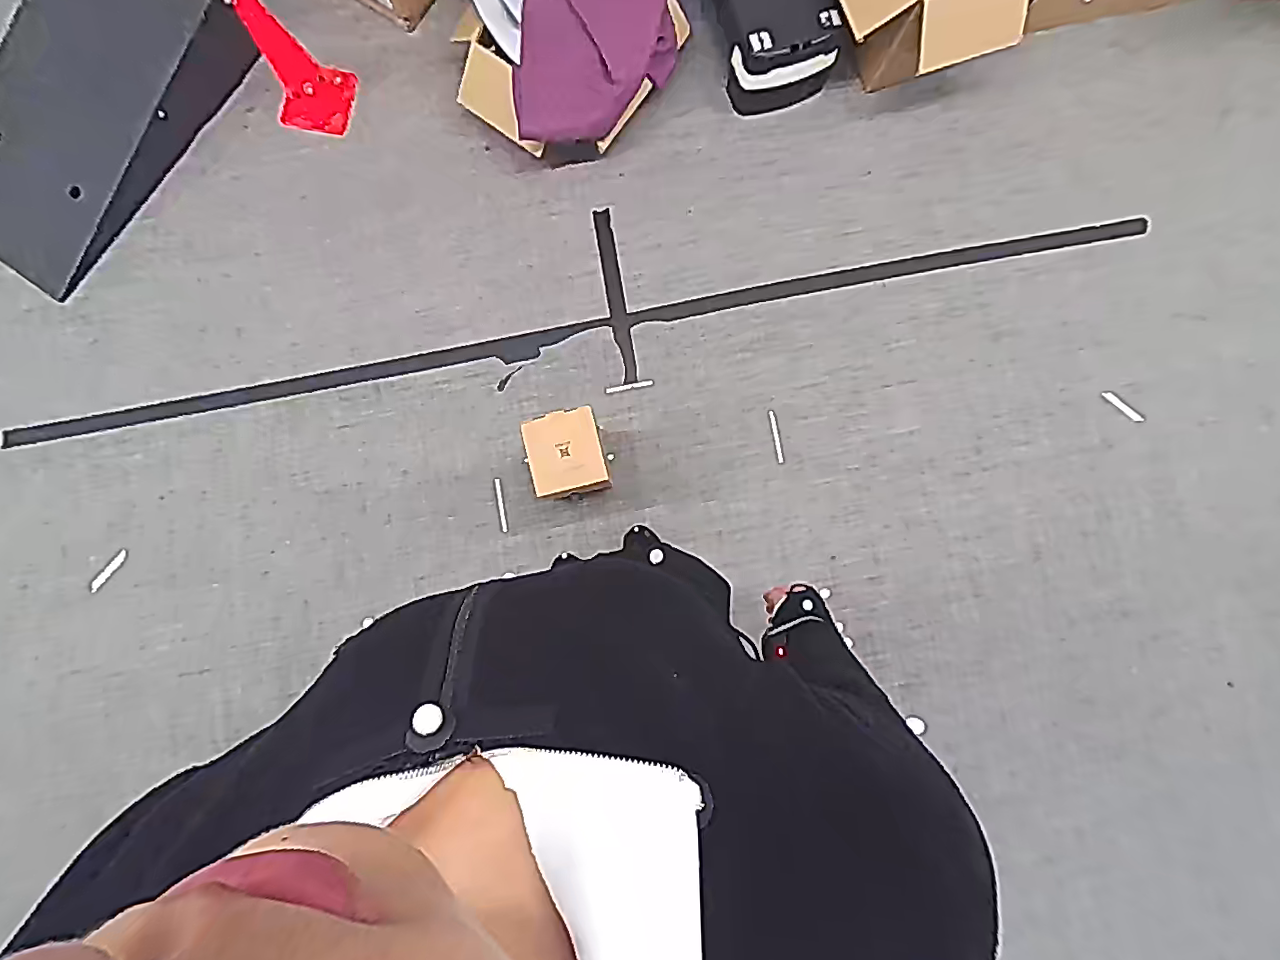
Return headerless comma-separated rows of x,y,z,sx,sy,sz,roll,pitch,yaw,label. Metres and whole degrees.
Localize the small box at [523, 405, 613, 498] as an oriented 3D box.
-0.165,-0.061,1.283,0.168,0.176,0.179,-15,87,0,small box
